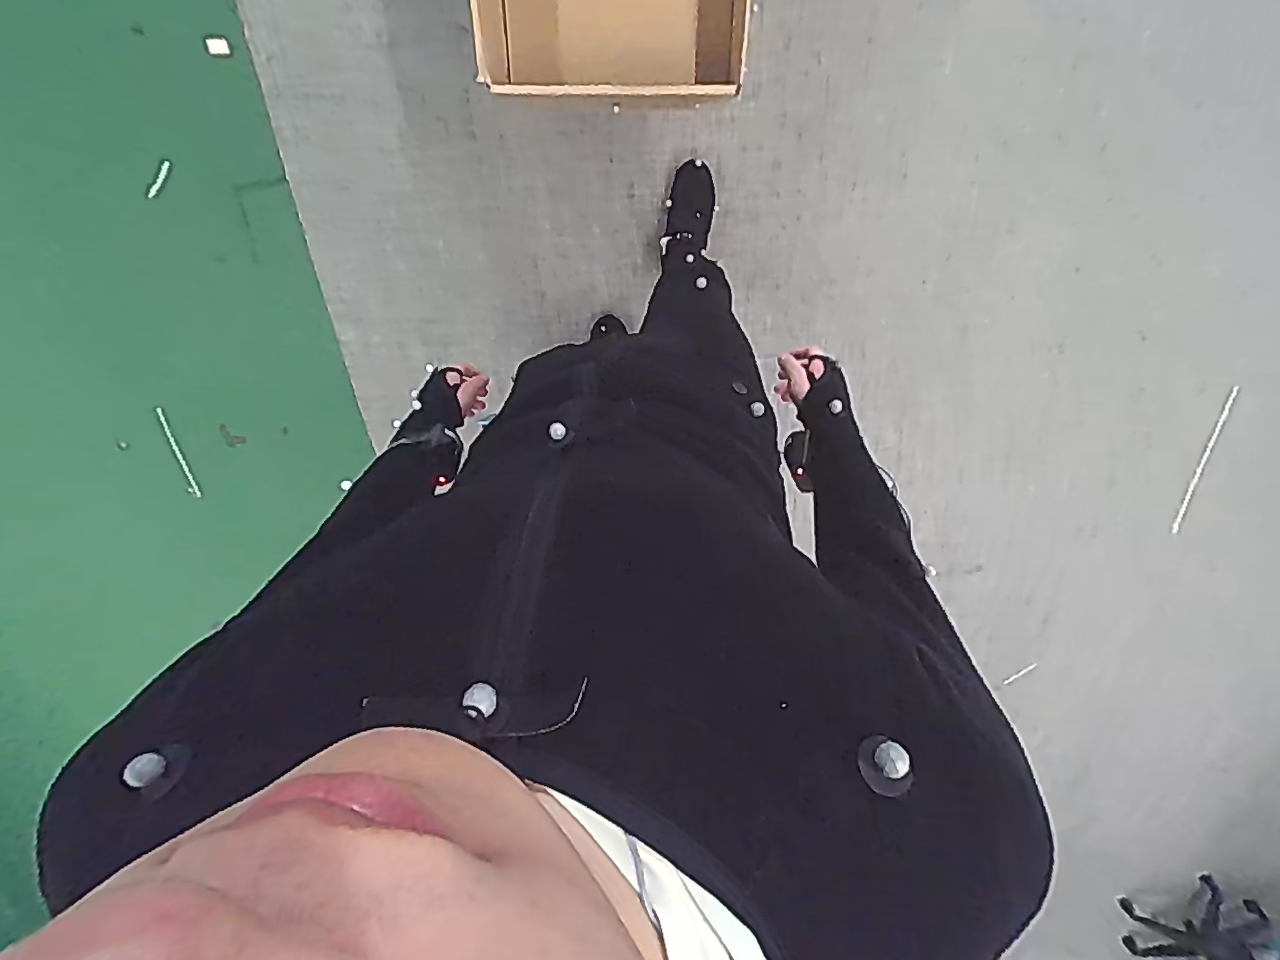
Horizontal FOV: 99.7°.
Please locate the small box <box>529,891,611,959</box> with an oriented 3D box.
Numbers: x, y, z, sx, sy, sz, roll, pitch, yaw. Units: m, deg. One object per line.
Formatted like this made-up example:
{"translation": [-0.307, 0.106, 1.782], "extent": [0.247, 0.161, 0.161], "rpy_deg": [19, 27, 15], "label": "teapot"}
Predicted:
{"translation": [-0.185, 1.251, 1.470], "extent": [0.168, 0.176, 0.179], "rpy_deg": [-16, 116, 10], "label": "small box"}
